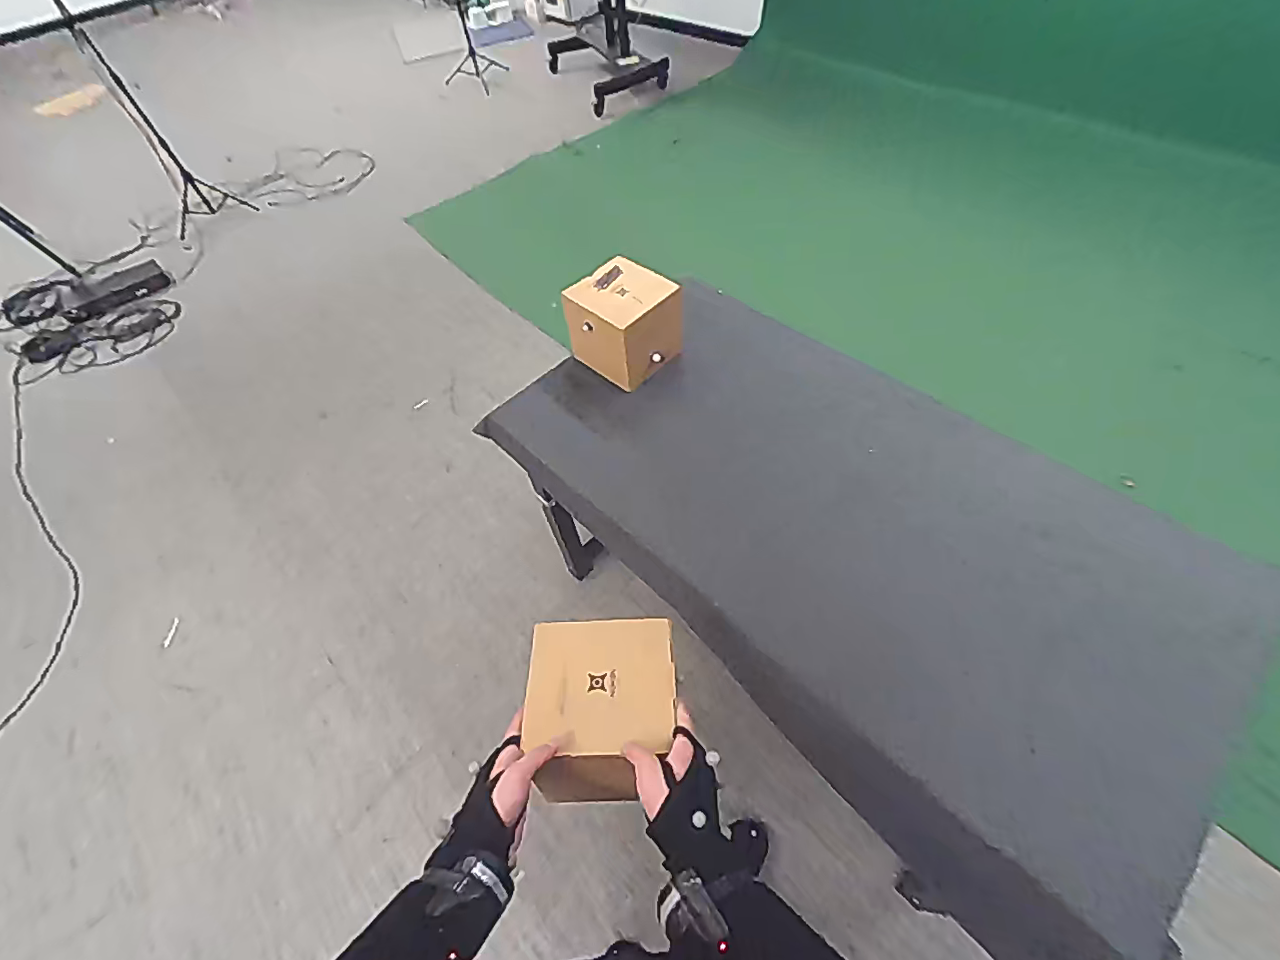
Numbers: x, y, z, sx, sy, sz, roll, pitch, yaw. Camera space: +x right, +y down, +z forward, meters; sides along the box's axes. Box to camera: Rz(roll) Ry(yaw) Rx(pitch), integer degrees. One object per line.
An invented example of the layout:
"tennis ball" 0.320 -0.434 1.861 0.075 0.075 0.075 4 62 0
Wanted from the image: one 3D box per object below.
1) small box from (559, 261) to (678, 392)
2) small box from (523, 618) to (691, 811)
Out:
"small box" -0.042 -0.313 1.116 0.179 0.176 0.168 37 63 24
"small box" -0.035 0.290 0.669 0.179 0.176 0.168 -4 43 -1
